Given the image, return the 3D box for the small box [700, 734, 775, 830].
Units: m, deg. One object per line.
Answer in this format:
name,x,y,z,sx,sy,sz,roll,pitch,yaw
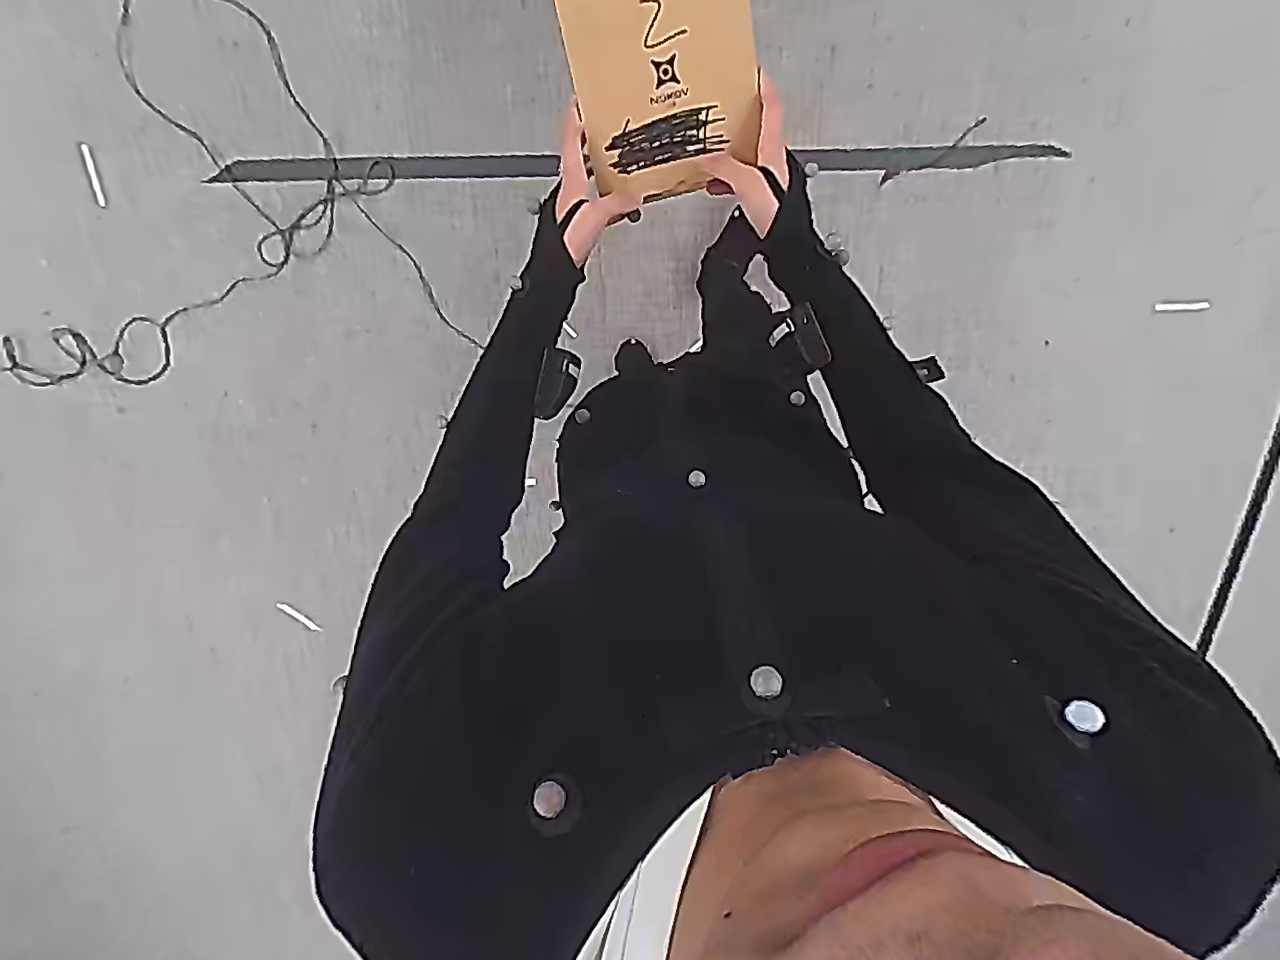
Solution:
small box,0.273,0.846,1.528,0.179,0.176,0.168,-6,110,0
